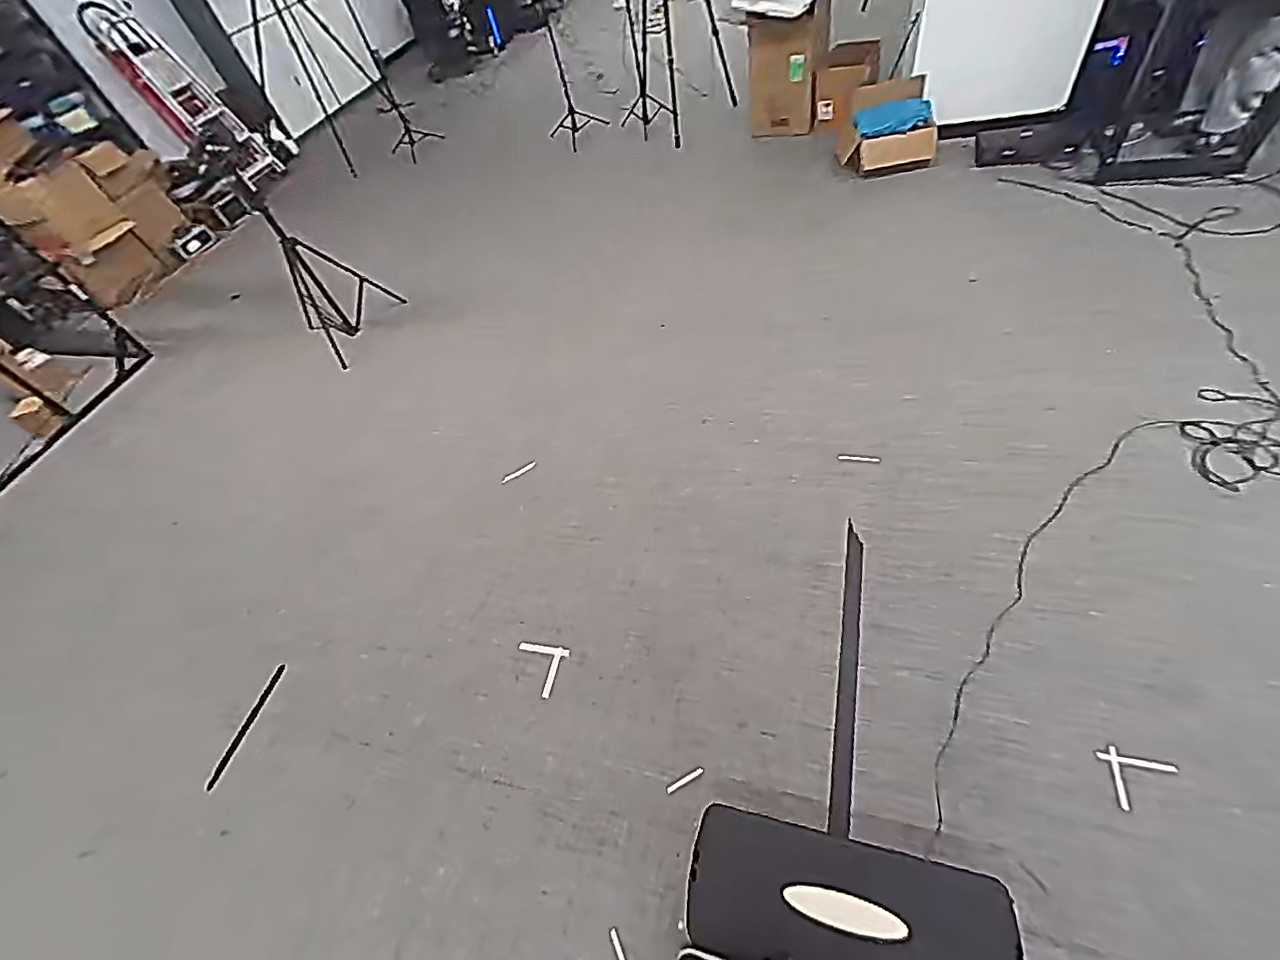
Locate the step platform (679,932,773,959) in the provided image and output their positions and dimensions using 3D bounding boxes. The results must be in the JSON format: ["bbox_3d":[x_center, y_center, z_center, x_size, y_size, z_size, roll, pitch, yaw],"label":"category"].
[{"bbox_3d":[0.380,1.115,1.000,0.684,0.204,0.286,4,53,18],"label":"step platform"}]
